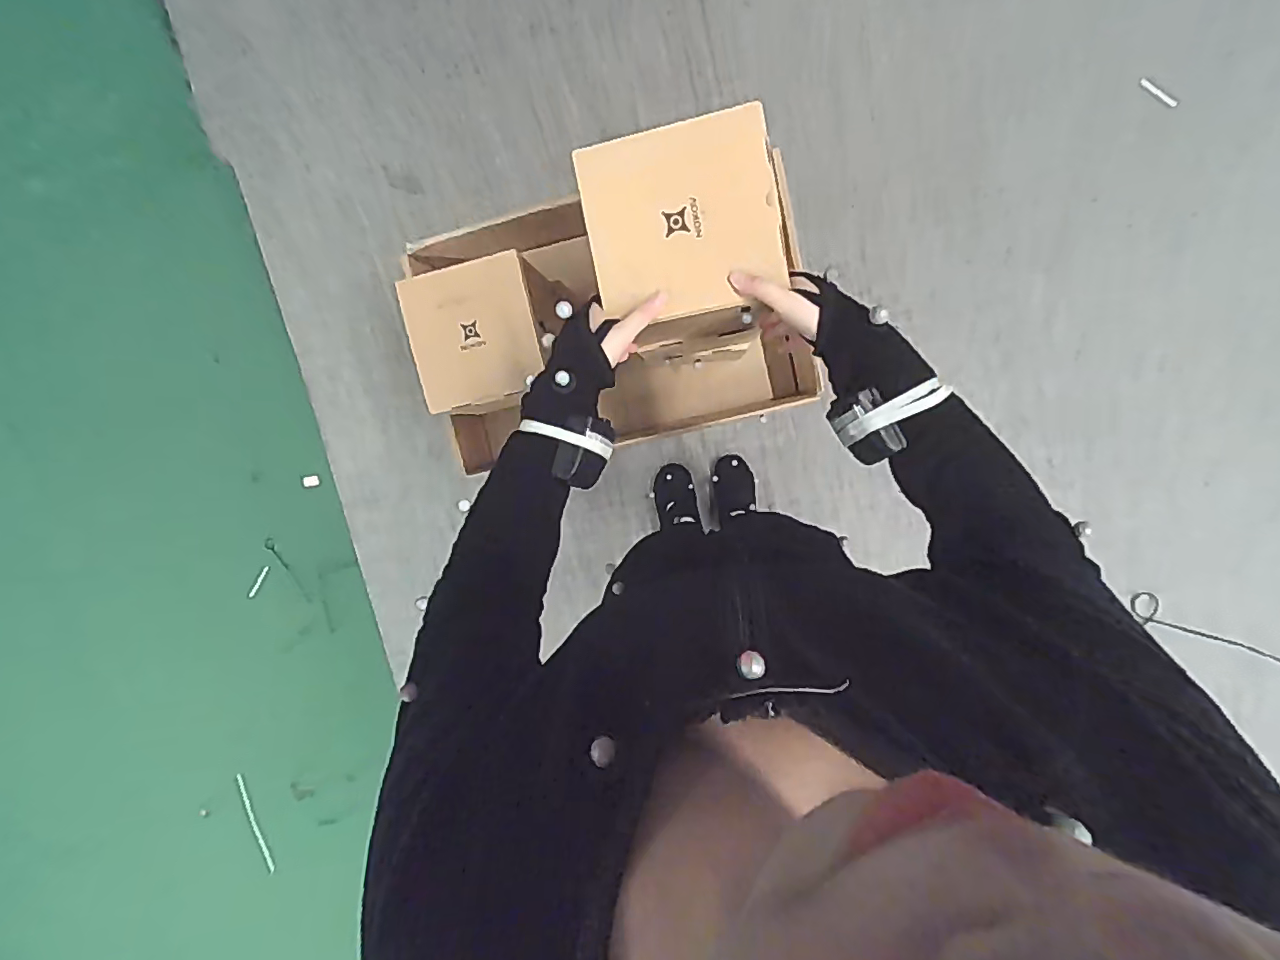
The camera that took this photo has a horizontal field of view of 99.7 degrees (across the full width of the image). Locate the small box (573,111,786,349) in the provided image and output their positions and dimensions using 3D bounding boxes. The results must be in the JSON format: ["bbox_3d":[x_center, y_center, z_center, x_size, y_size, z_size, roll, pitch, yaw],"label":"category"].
[{"bbox_3d":[0.044,-0.242,0.574,0.179,0.176,0.168,-10,97,6],"label":"small box"}]

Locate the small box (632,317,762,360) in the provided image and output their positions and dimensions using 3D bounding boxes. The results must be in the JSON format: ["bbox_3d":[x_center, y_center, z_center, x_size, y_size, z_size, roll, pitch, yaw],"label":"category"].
[{"bbox_3d":[0.066,-0.264,0.734,0.168,0.176,0.179,-9,96,7],"label":"small box"}]

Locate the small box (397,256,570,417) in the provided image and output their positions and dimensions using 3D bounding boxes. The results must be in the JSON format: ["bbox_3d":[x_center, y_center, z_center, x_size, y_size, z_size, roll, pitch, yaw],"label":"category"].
[{"bbox_3d":[-0.208,-0.192,0.769,0.168,0.176,0.179,-12,96,6],"label":"small box"}]
